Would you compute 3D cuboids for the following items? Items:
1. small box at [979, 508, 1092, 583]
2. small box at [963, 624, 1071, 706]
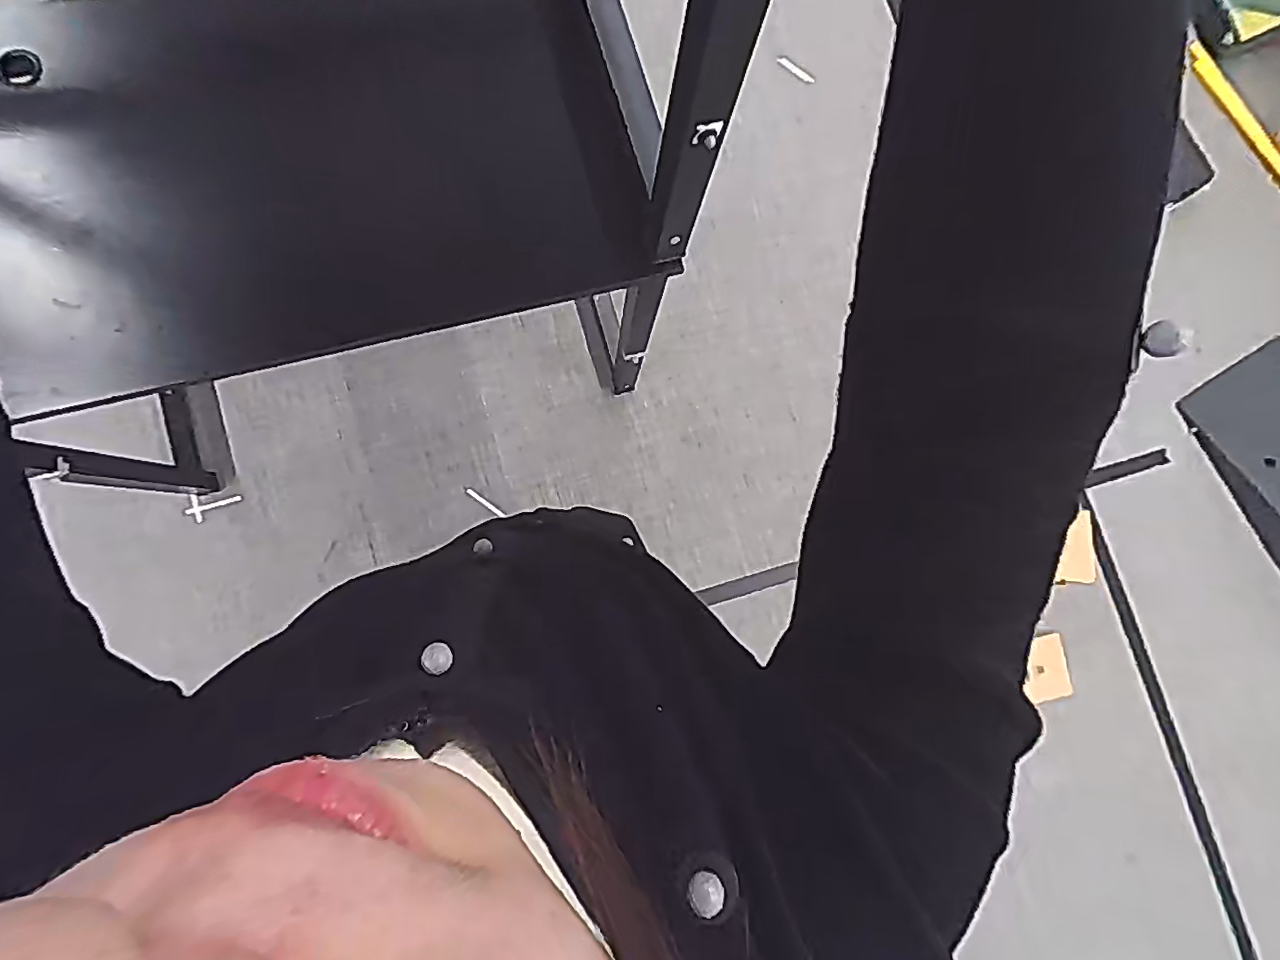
[{"bbox_3d":[0.992,0.167,1.370,0.168,0.176,0.179,2,84,-5],"label":"small box"},{"bbox_3d":[1.037,0.510,1.509,0.179,0.176,0.168,-10,86,-8],"label":"small box"}]
